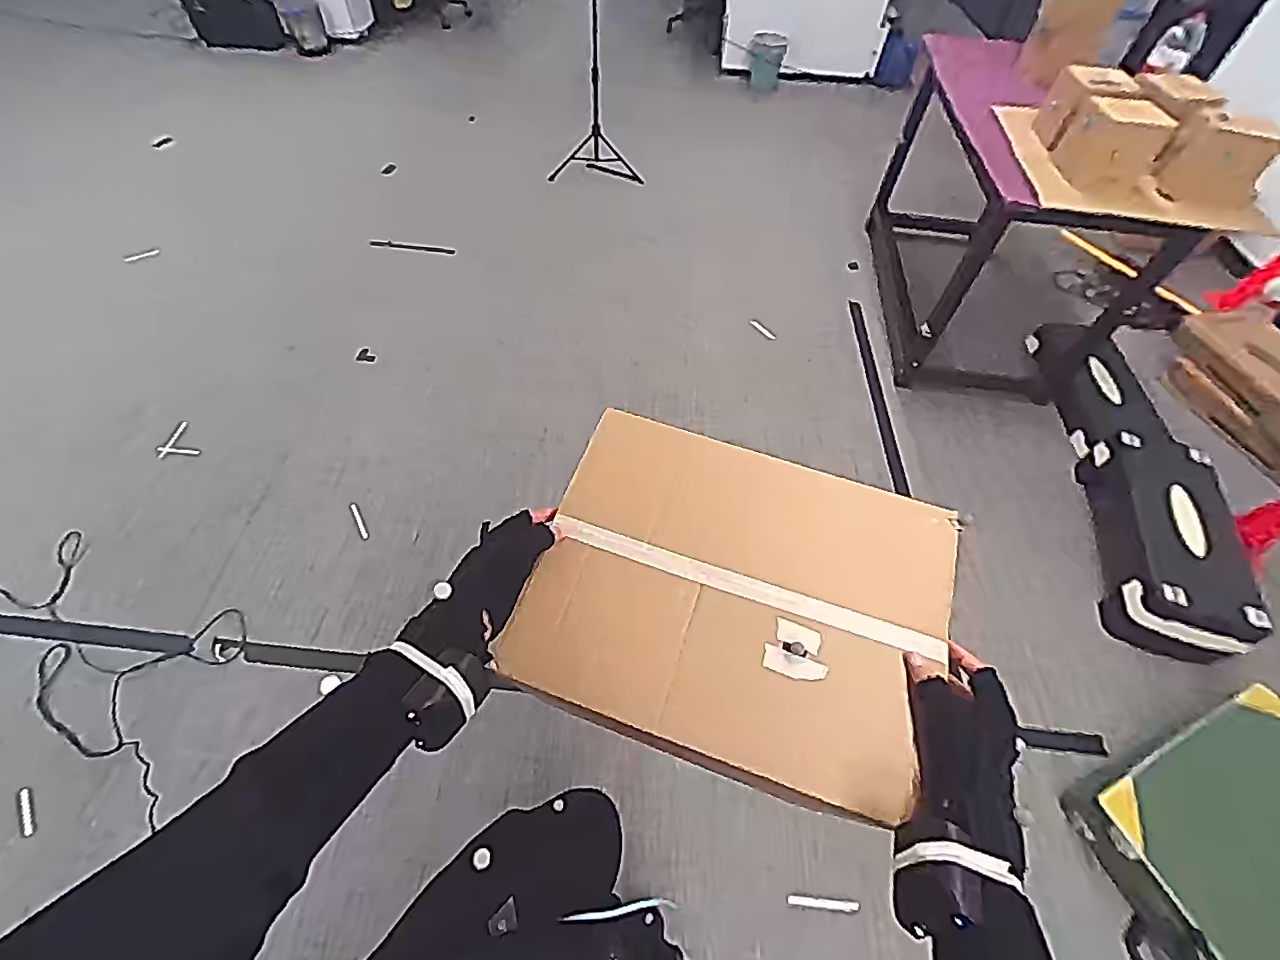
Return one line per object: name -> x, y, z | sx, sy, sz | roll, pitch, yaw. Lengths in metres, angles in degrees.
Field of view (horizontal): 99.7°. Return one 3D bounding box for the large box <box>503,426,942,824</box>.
large box -> 0.096, 0.184, 0.692 | 0.408, 0.320, 0.320 | 18, 65, 8
